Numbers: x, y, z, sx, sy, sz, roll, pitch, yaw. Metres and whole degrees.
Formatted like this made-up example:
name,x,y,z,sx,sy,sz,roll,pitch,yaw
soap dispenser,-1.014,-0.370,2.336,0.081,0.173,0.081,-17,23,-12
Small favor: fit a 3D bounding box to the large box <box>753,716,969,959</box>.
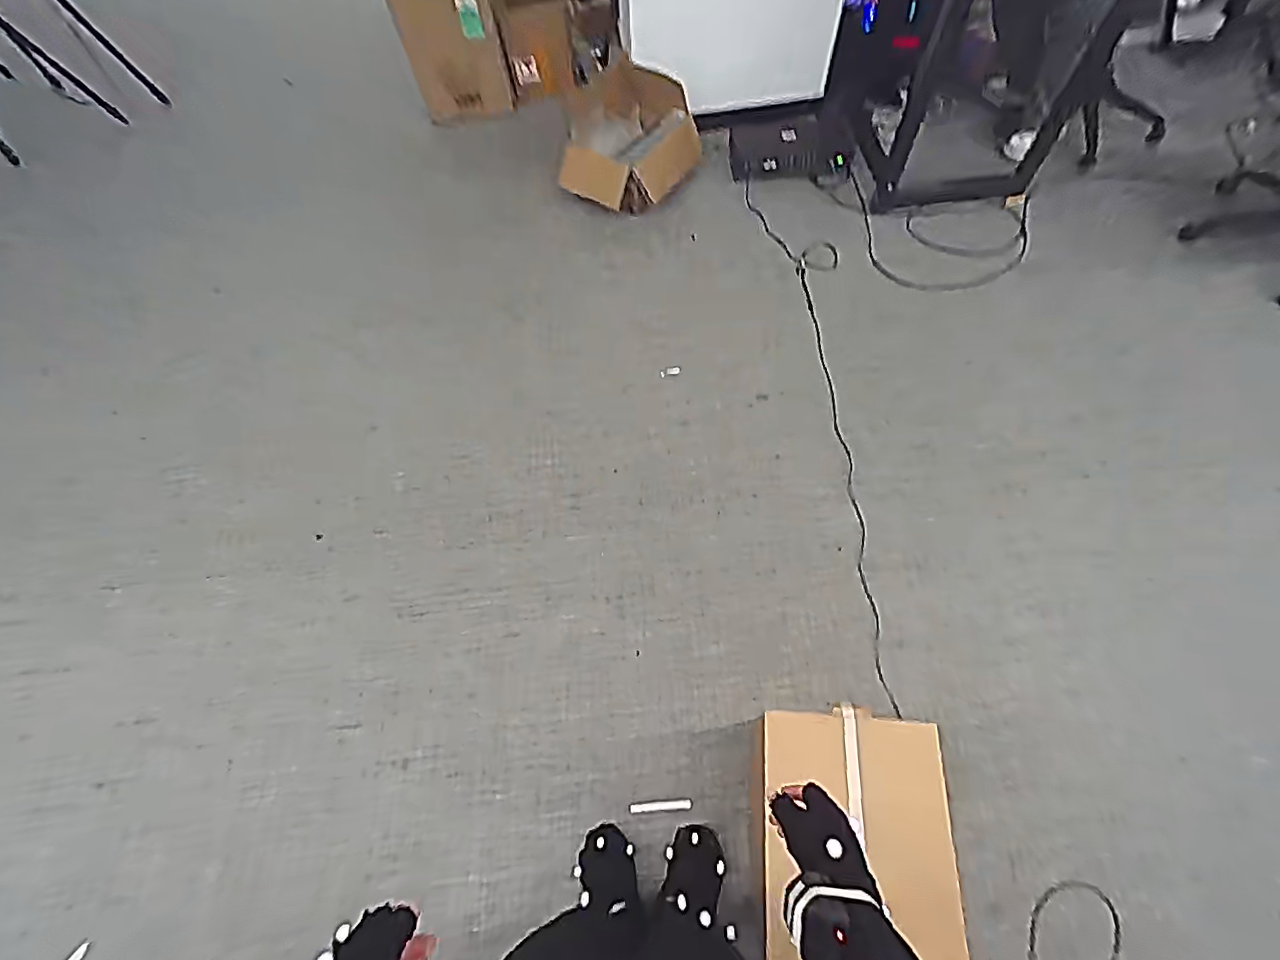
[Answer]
name,x,y,z,sx,sy,sz,roll,pitch,yaw
large box,0.396,0.701,1.068,0.320,0.320,0.408,3,64,8
